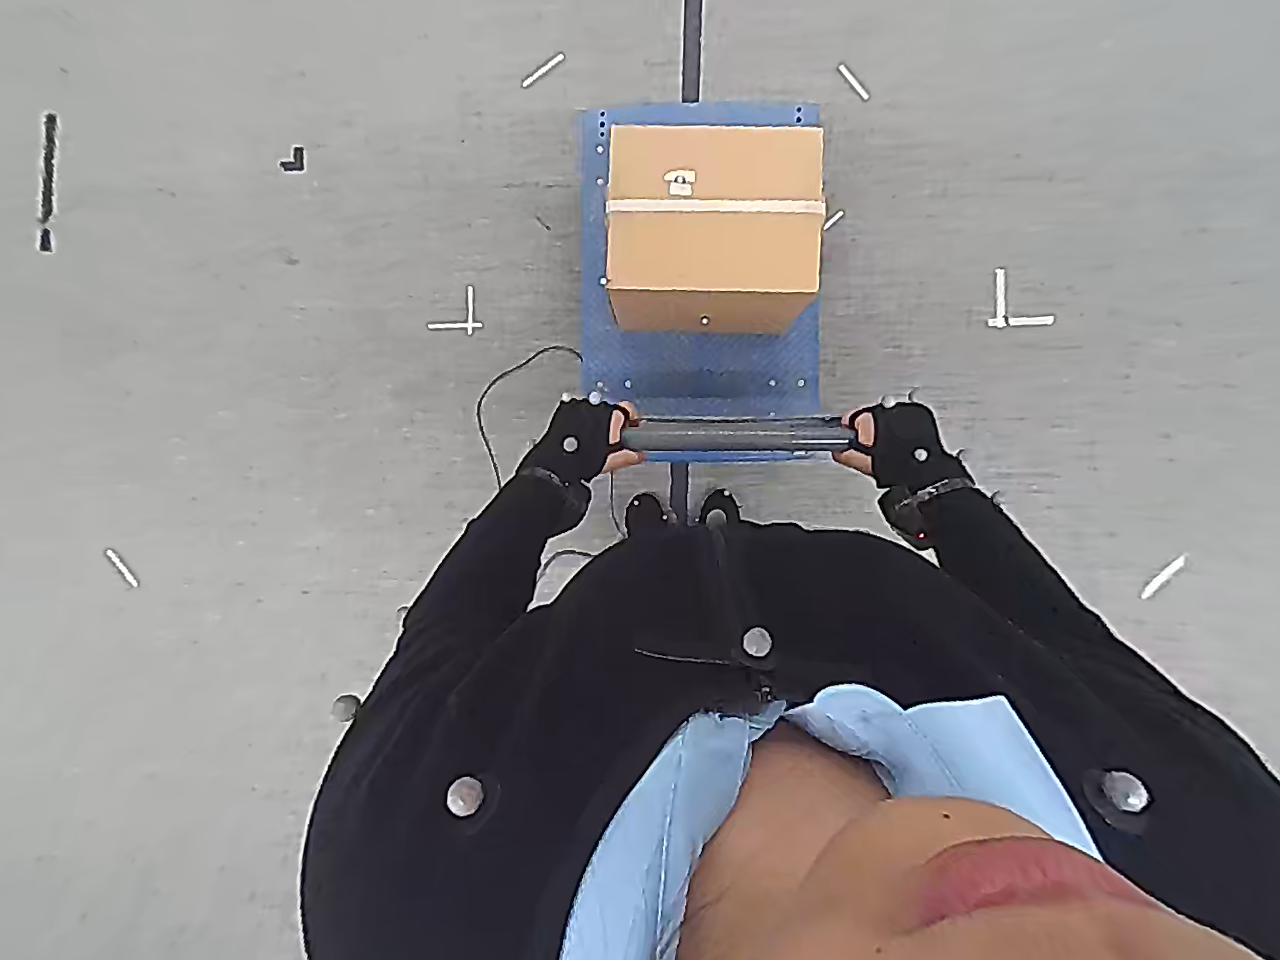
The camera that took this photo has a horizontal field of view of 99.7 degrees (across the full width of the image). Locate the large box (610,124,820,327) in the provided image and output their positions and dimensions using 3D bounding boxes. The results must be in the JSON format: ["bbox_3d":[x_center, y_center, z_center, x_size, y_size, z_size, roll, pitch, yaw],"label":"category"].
[{"bbox_3d":[0.152,-0.526,1.185,0.408,0.320,0.320,2,90,3],"label":"large box"}]
